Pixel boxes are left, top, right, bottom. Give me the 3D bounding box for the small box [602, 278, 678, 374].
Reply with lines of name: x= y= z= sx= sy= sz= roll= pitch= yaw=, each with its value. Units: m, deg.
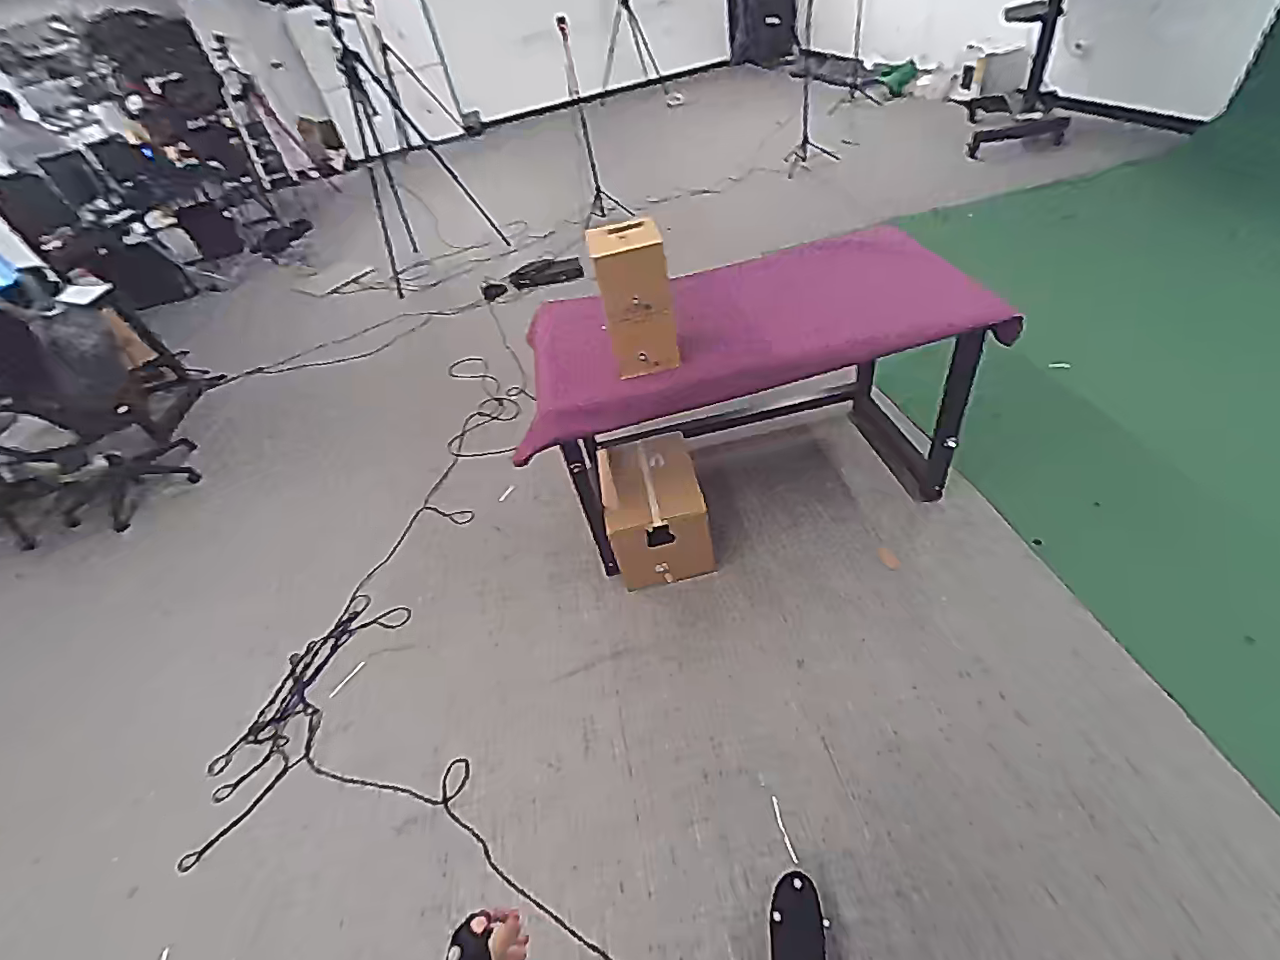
small box: x=0.000 y=-0.407 z=1.430 sx=0.168 sy=0.176 sz=0.179 roll=-13 pitch=44 yaw=1
